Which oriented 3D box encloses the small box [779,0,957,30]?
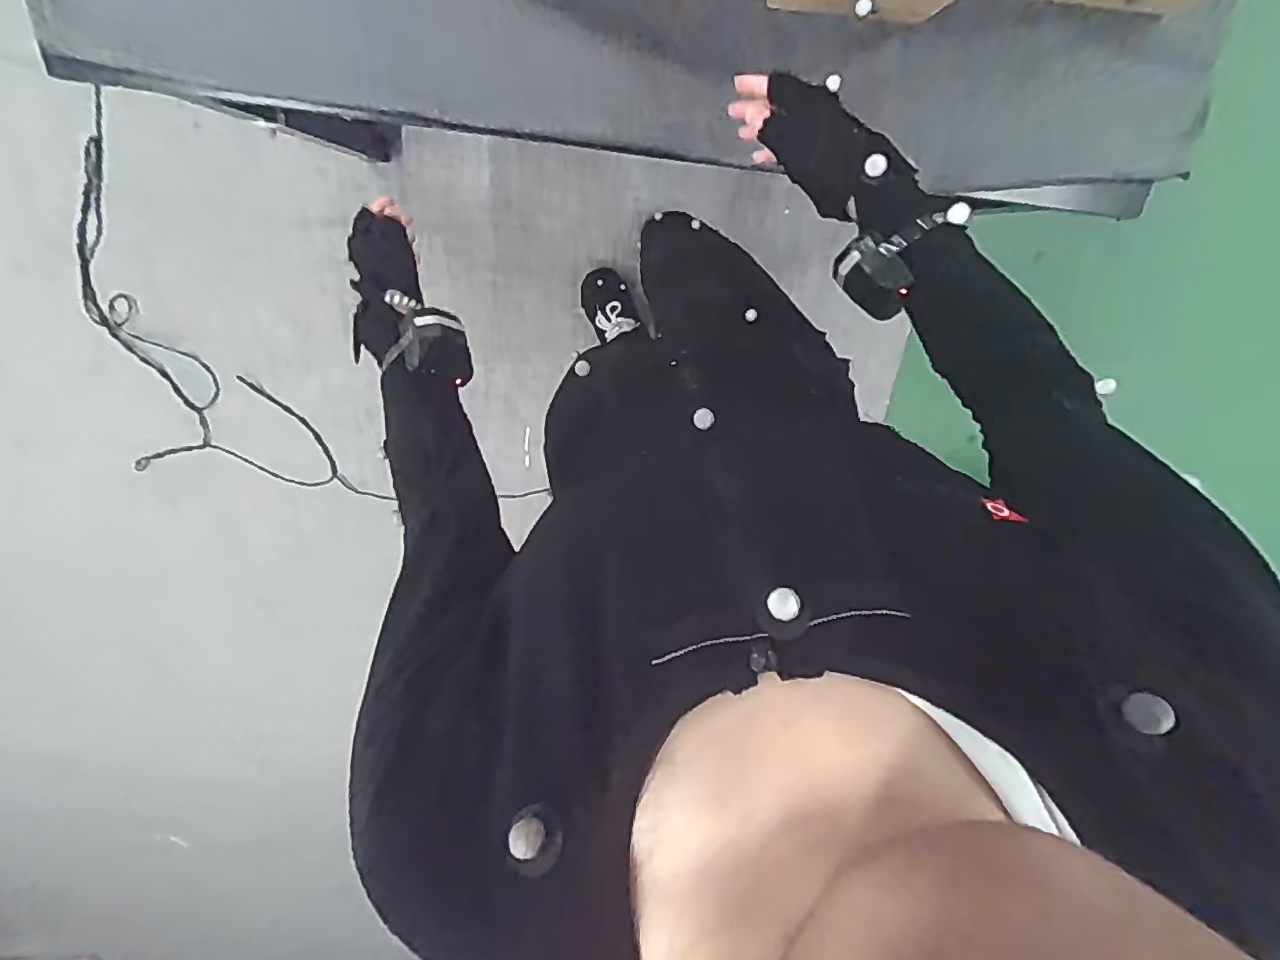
[{"bbox_3d":[0.223,-0.523,0.451,0.168,0.176,0.179,3,113,-5],"label":"small box"}]
